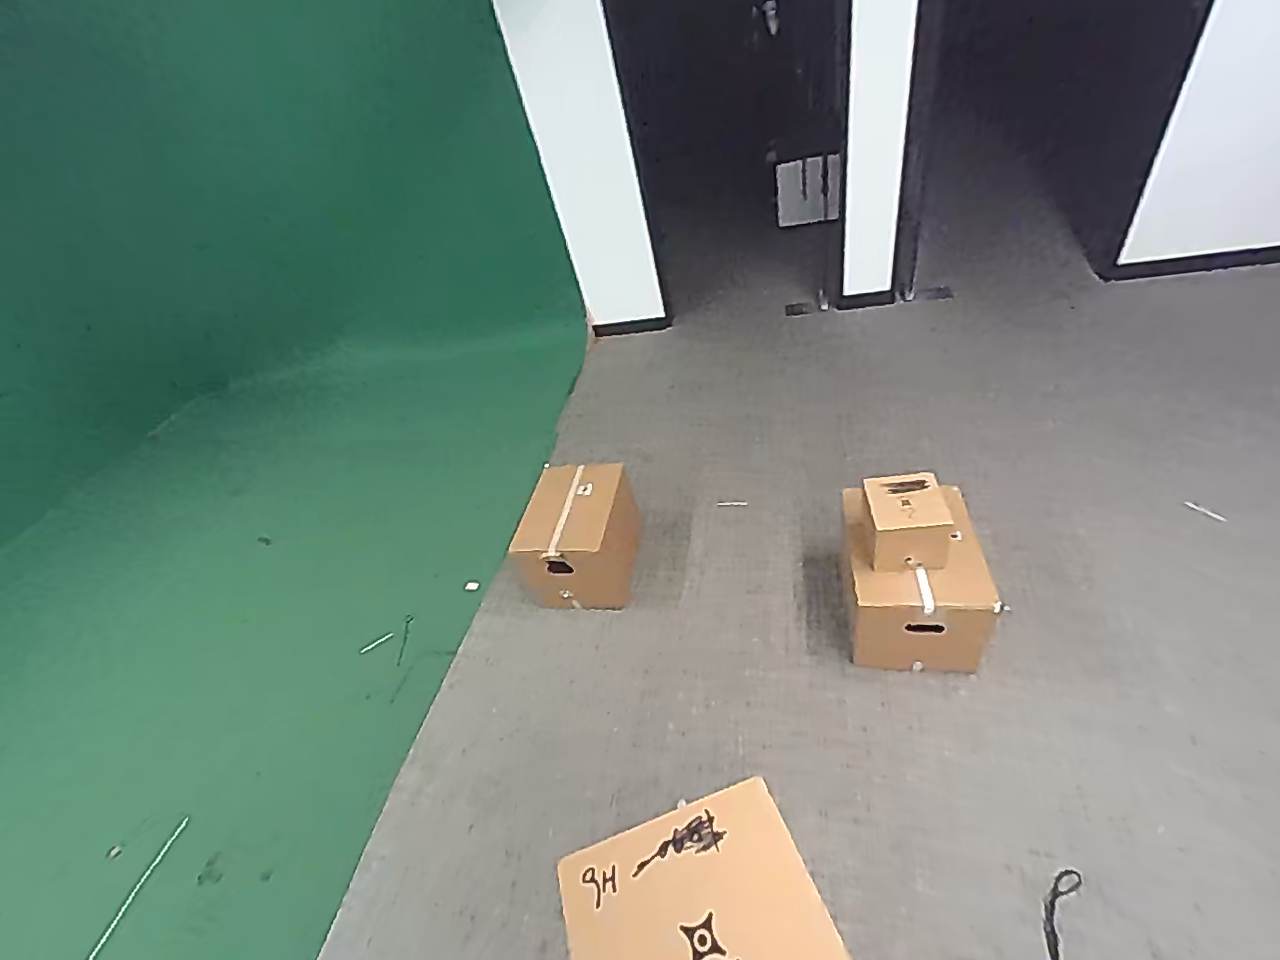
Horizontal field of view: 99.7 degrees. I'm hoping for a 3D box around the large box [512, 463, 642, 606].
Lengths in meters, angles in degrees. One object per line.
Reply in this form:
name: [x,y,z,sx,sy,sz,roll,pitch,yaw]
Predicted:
large box: [-0.200,0.193,1.910,0.320,0.320,0.408,-3,43,16]
